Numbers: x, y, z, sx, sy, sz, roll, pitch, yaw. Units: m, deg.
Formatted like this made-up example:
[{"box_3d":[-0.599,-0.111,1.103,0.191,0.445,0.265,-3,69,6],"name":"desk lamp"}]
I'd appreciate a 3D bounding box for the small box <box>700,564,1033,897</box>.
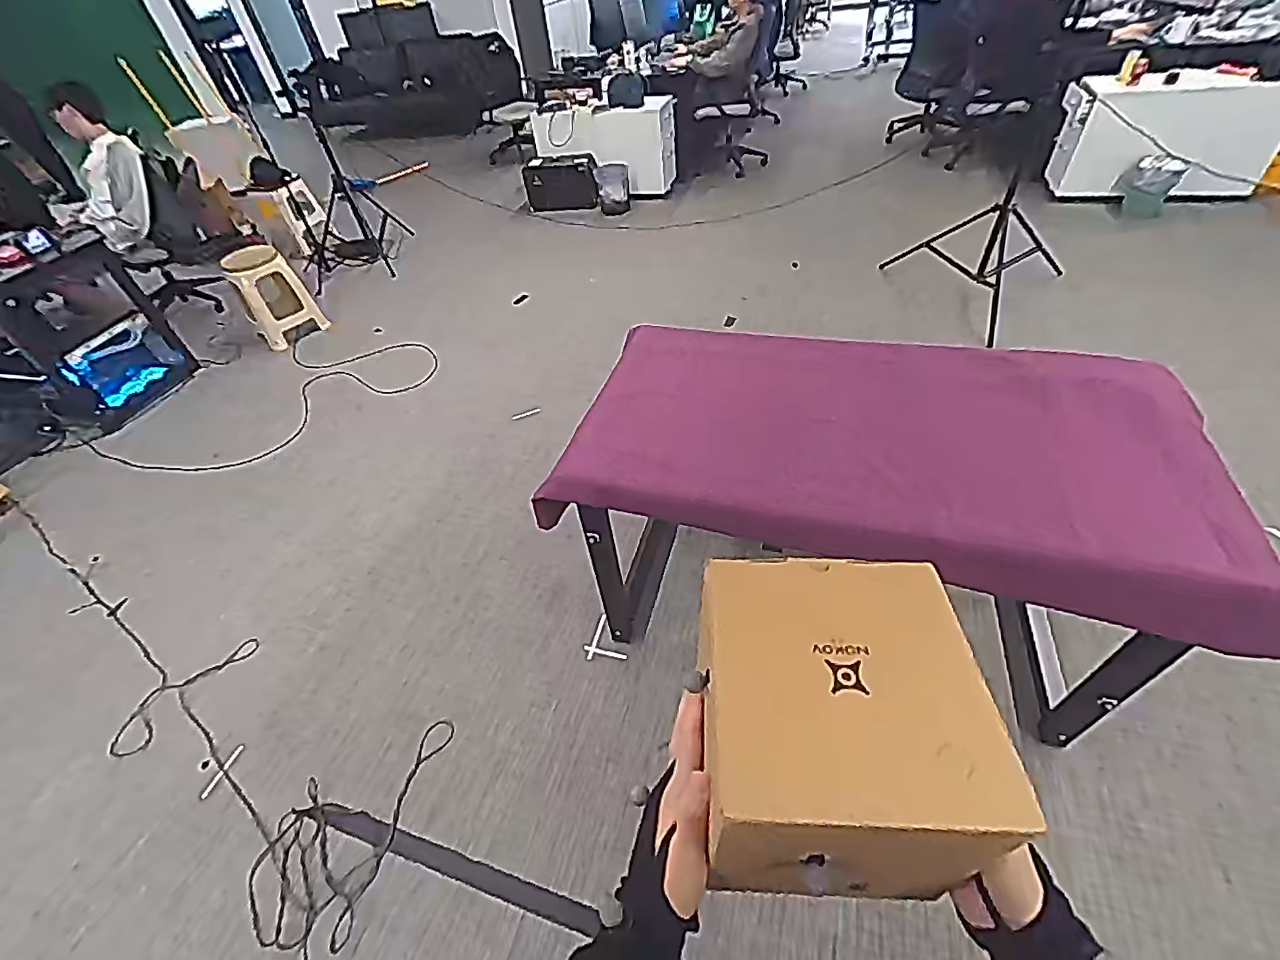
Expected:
[{"box_3d":[0.131,0.182,0.398,0.168,0.176,0.179,1,42,3],"name":"small box"}]
